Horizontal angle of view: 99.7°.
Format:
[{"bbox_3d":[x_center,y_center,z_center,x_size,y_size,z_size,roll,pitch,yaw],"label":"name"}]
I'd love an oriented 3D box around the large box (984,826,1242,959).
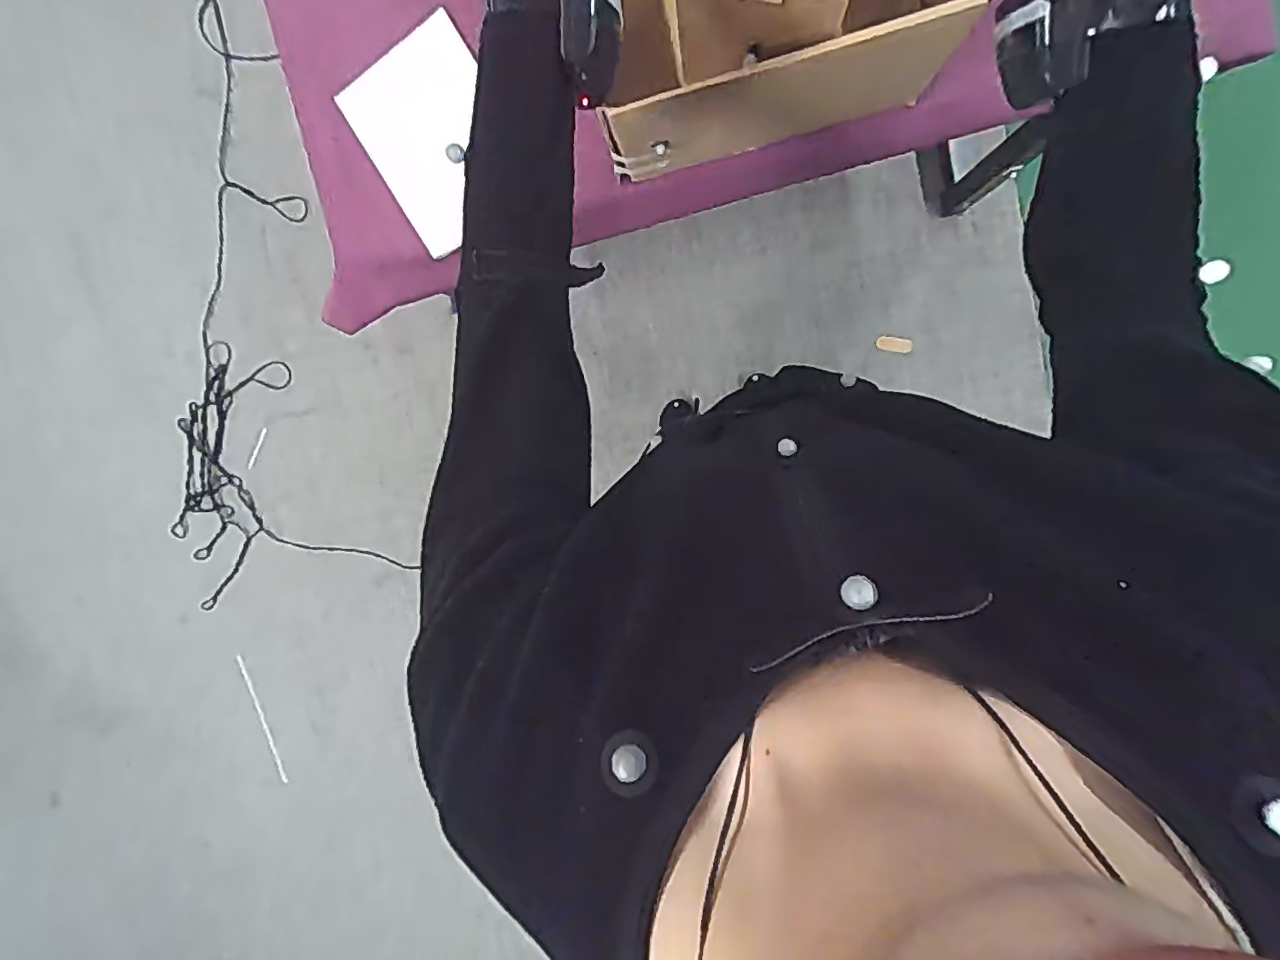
[{"bbox_3d":[1.208,1.188,1.382,0.408,0.320,0.320,-27,94,9],"label":"large box"}]
